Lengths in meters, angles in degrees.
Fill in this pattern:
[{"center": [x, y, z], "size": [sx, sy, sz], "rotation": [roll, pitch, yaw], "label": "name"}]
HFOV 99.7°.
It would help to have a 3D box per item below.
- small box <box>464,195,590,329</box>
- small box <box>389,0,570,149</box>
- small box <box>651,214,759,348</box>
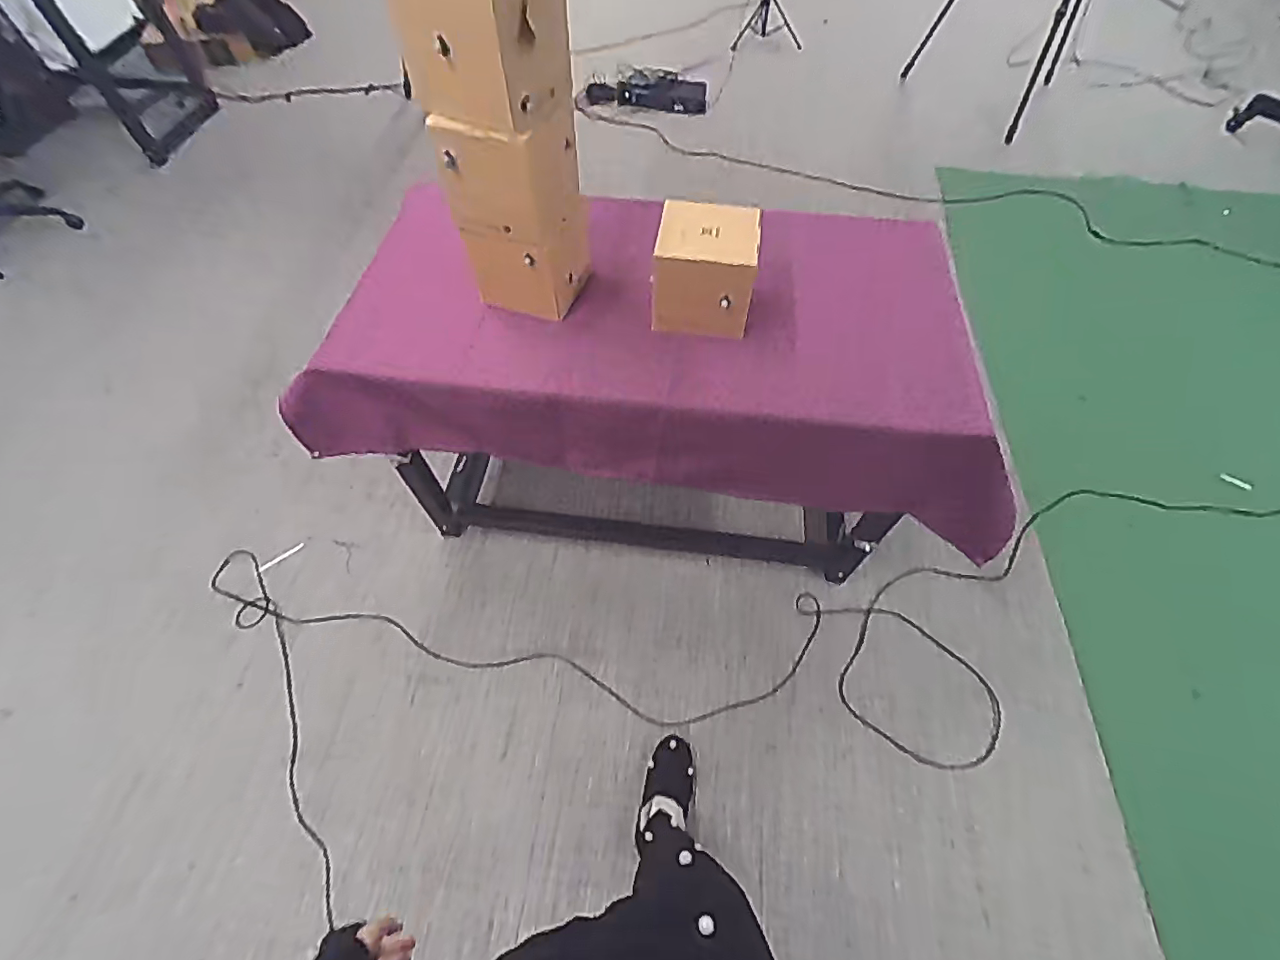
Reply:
[{"center": [-0.210, -0.420, 1.054], "size": [0.179, 0.176, 0.168], "rotation": [16, 58, 9], "label": "small box"}, {"center": [-0.218, -0.615, 0.788], "size": [0.179, 0.176, 0.168], "rotation": [22, 59, 14], "label": "small box"}, {"center": [0.119, -0.372, 1.024], "size": [0.179, 0.176, 0.168], "rotation": [8, 56, 5], "label": "small box"}]
